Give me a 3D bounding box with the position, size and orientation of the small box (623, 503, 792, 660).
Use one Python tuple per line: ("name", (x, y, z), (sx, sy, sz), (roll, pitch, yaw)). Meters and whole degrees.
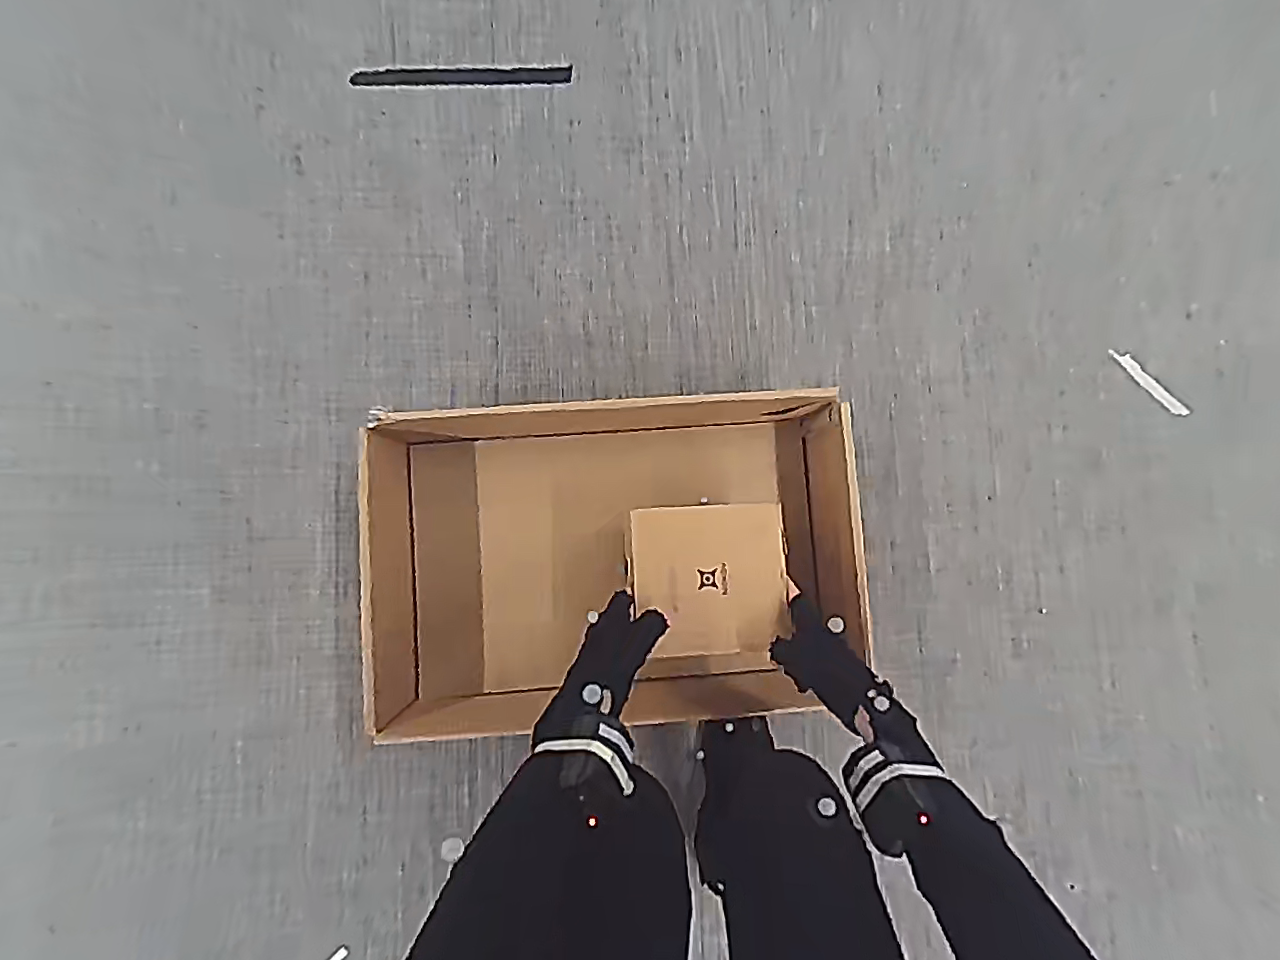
("small box", (0.072, 0.120, 0.675), (0.179, 0.176, 0.168), (-3, 82, -3))
